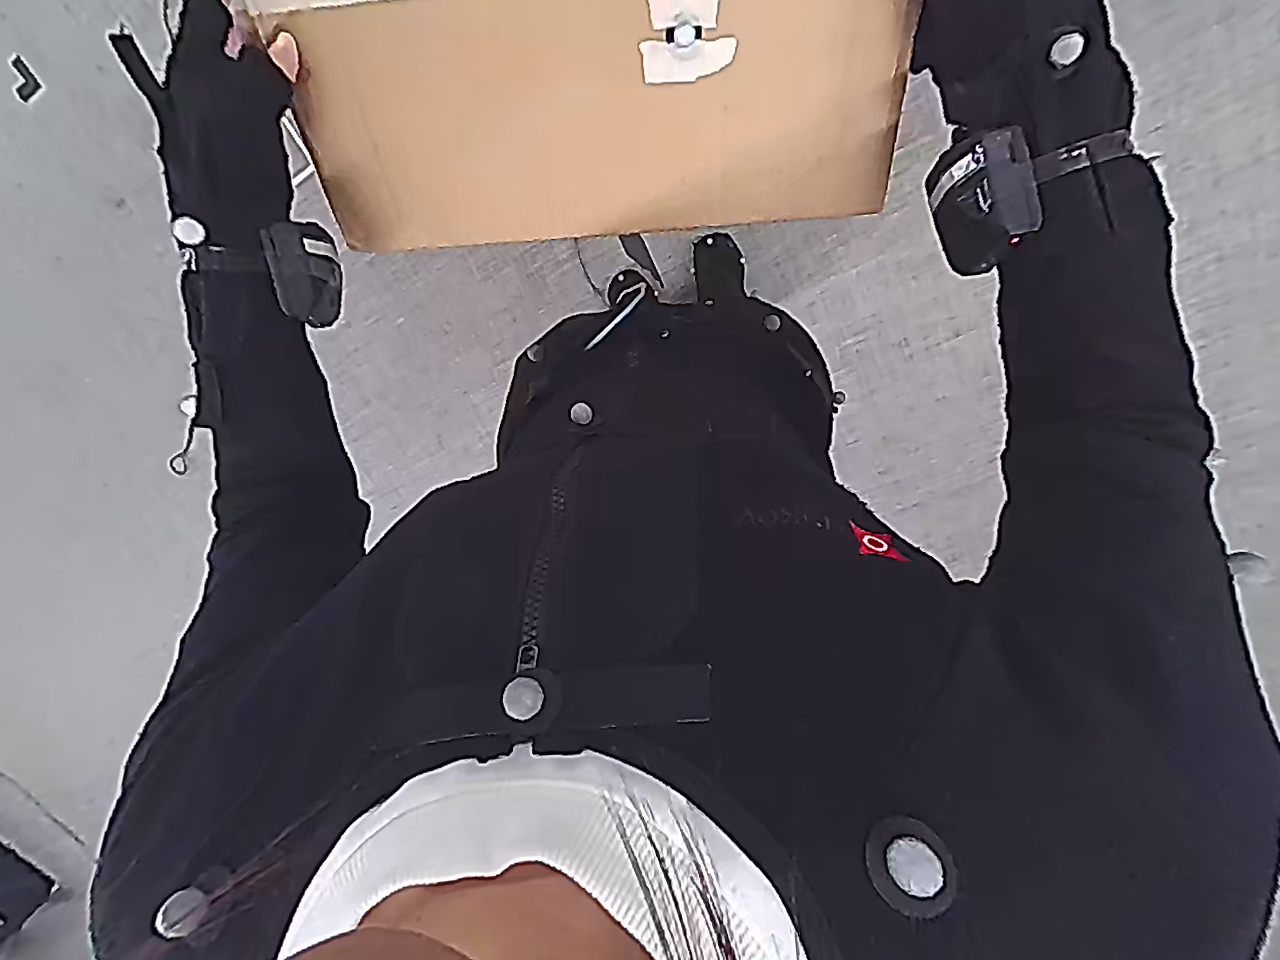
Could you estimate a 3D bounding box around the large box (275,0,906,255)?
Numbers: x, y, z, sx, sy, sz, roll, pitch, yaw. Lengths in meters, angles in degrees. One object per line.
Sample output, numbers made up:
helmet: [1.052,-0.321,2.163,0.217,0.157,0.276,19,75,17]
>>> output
large box: [-0.032,-0.406,0.443,0.408,0.320,0.320,-3,129,6]
